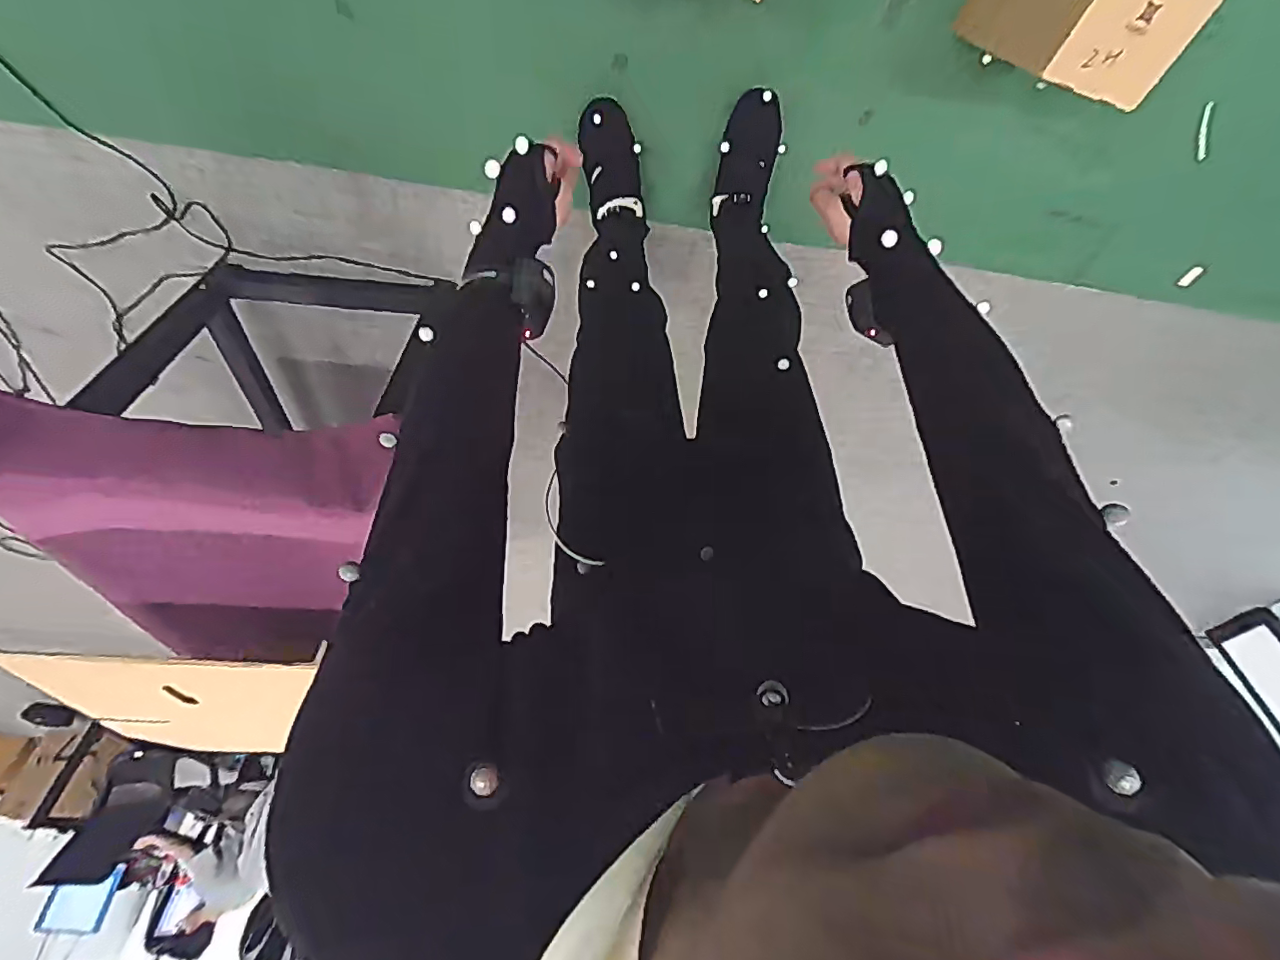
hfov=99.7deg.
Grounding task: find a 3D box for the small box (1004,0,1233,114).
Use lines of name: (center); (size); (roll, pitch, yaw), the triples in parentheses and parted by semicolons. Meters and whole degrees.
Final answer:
small box: (0.667, -0.661, 0.761); (0.168, 0.176, 0.179); (11, 138, -11)
